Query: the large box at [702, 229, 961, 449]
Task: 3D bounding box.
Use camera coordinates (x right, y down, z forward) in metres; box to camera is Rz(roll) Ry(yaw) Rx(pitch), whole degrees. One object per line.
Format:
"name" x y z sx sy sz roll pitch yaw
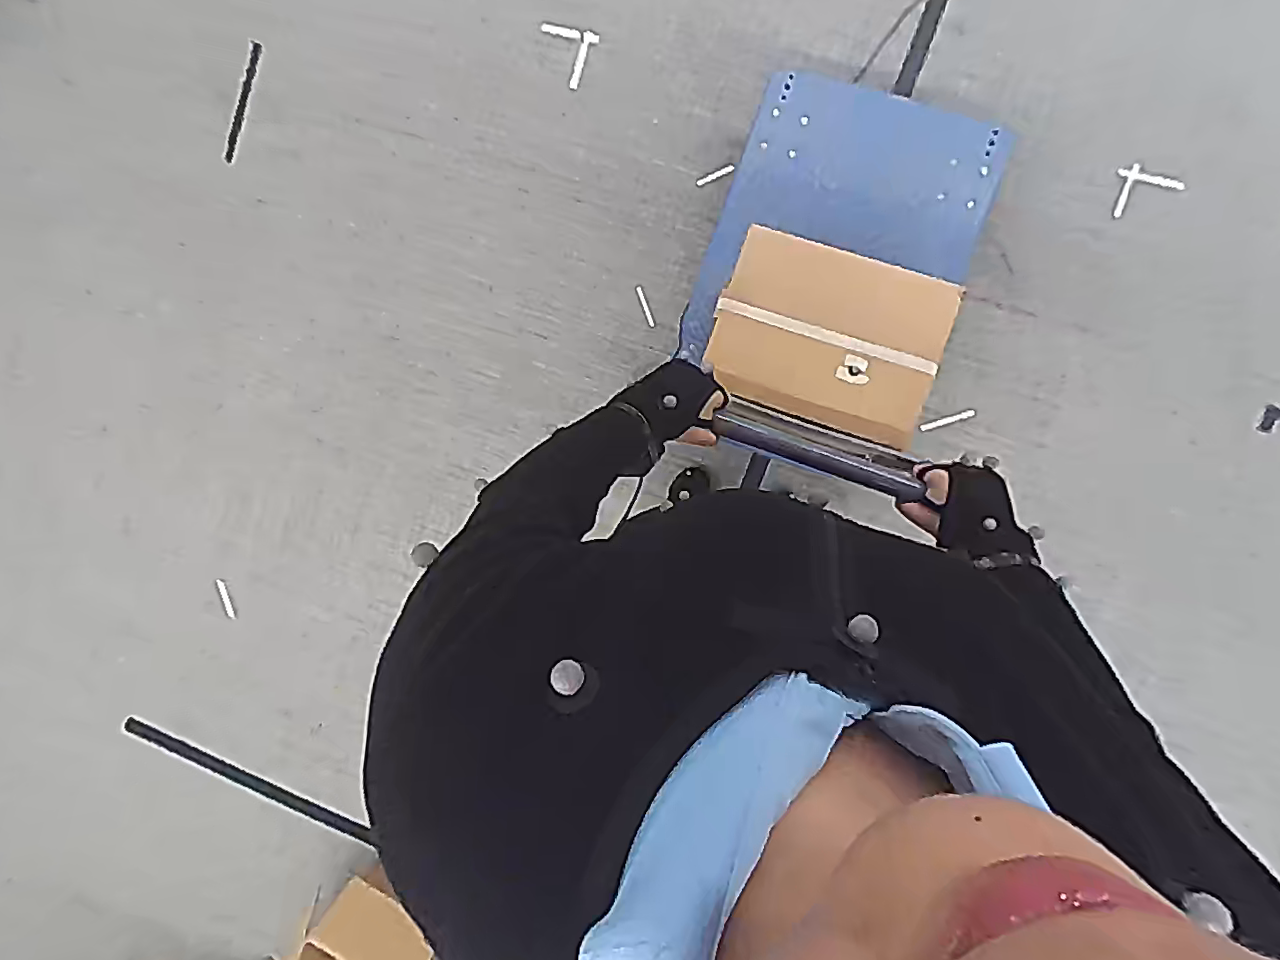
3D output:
"large box" 0.366 -0.275 1.157 0.408 0.320 0.320 20 94 6
